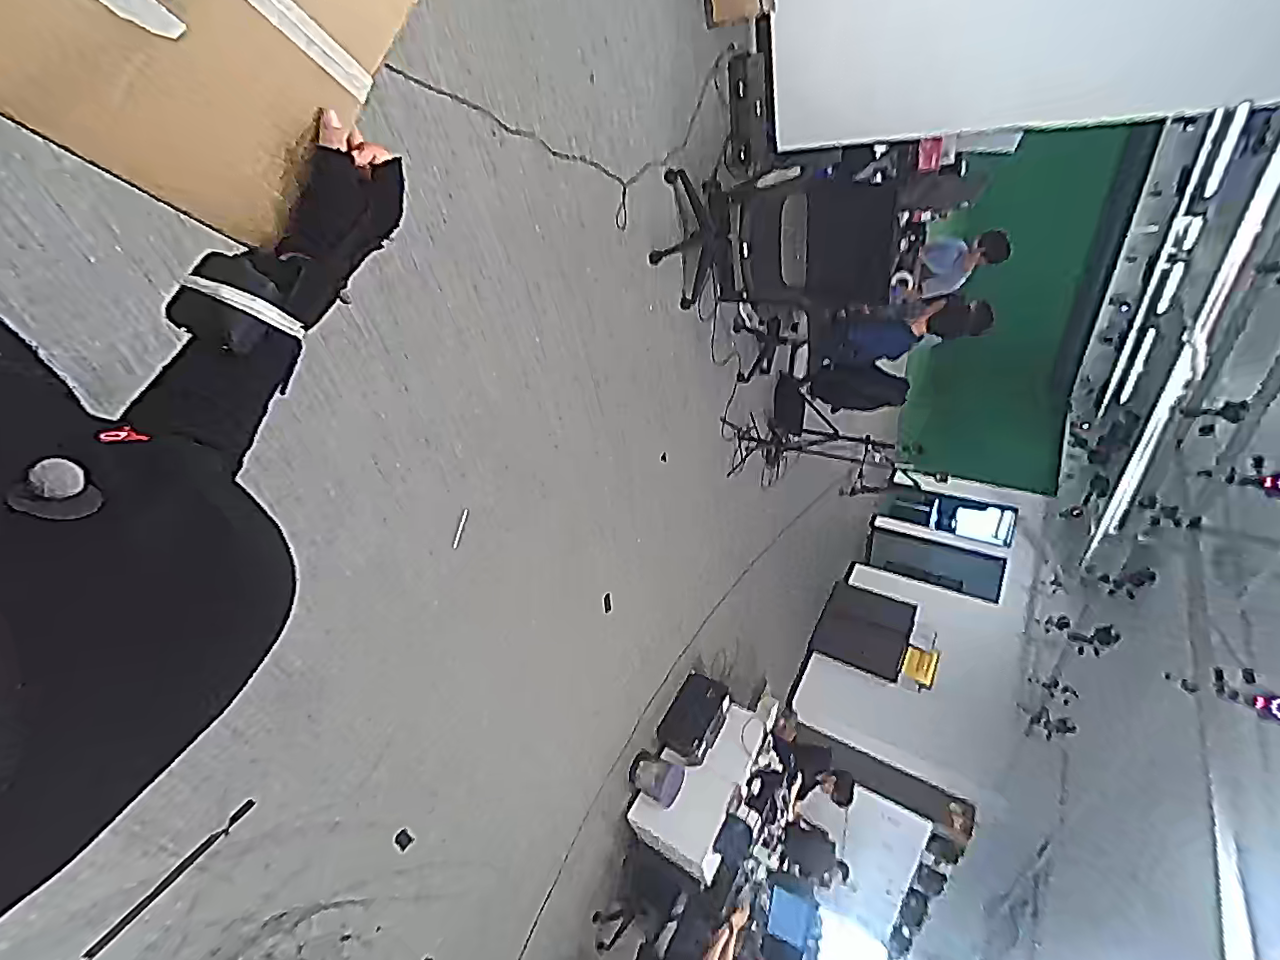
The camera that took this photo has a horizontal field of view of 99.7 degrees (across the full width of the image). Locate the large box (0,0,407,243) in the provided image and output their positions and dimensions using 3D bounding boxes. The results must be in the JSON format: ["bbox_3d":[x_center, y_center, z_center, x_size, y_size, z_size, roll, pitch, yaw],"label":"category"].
[{"bbox_3d":[-0.432,-0.437,0.353,0.320,0.320,0.408,-58,149,4],"label":"large box"}]
